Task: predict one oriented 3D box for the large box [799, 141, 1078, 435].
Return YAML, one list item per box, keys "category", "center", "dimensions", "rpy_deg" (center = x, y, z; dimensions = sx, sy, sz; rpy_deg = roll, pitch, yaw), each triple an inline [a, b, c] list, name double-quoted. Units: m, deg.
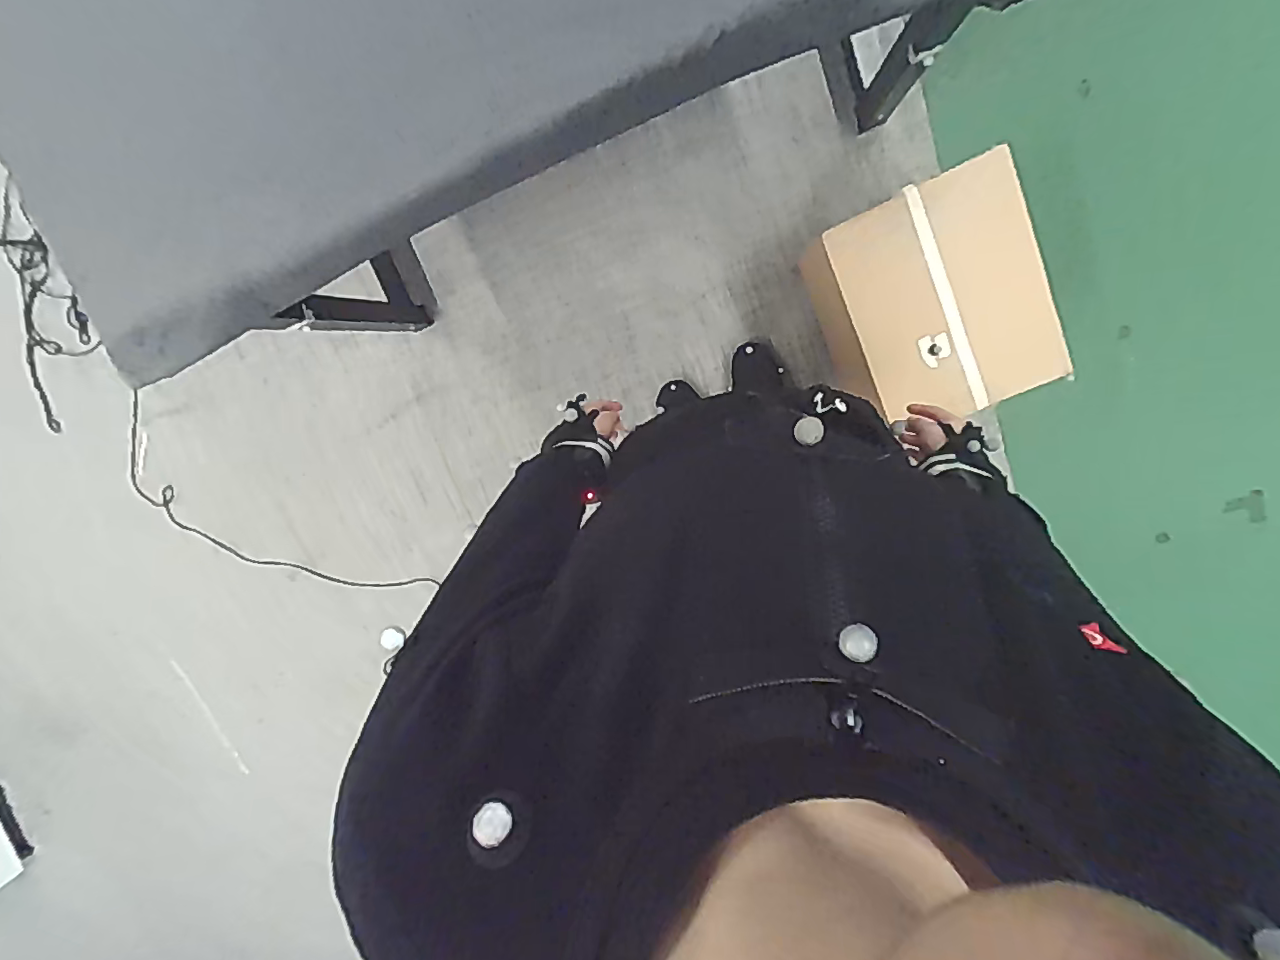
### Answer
- category: "large box"
  center: [0.556, -0.353, 1.075]
  dimensions: [0.320, 0.320, 0.408]
  rpy_deg: [-23, 101, 13]
